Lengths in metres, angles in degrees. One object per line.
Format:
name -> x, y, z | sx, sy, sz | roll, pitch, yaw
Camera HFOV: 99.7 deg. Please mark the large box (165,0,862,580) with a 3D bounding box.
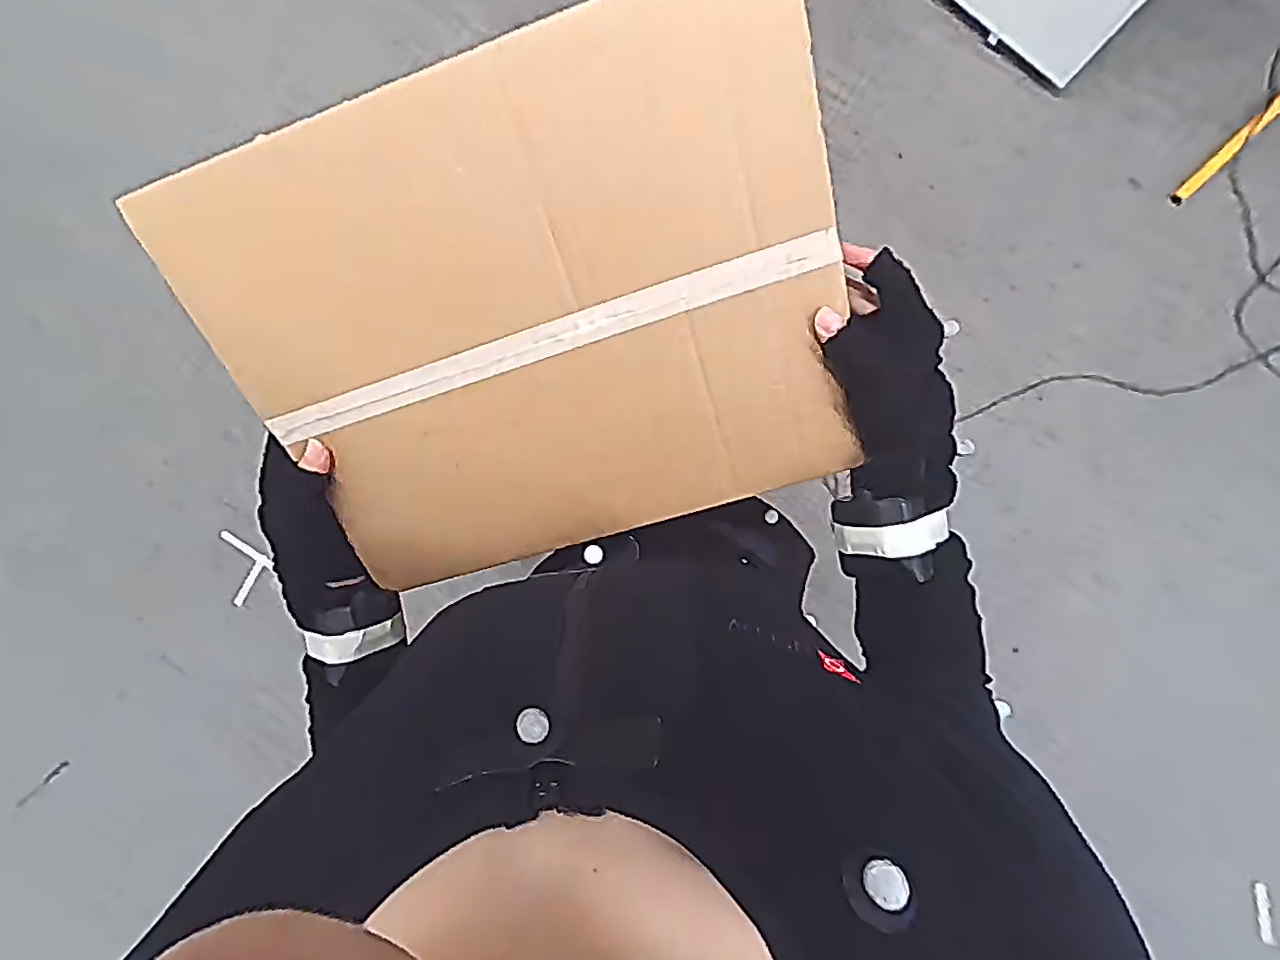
large box -> -0.067, -0.164, 0.504 | 0.408, 0.320, 0.320 | -16, 117, 8
